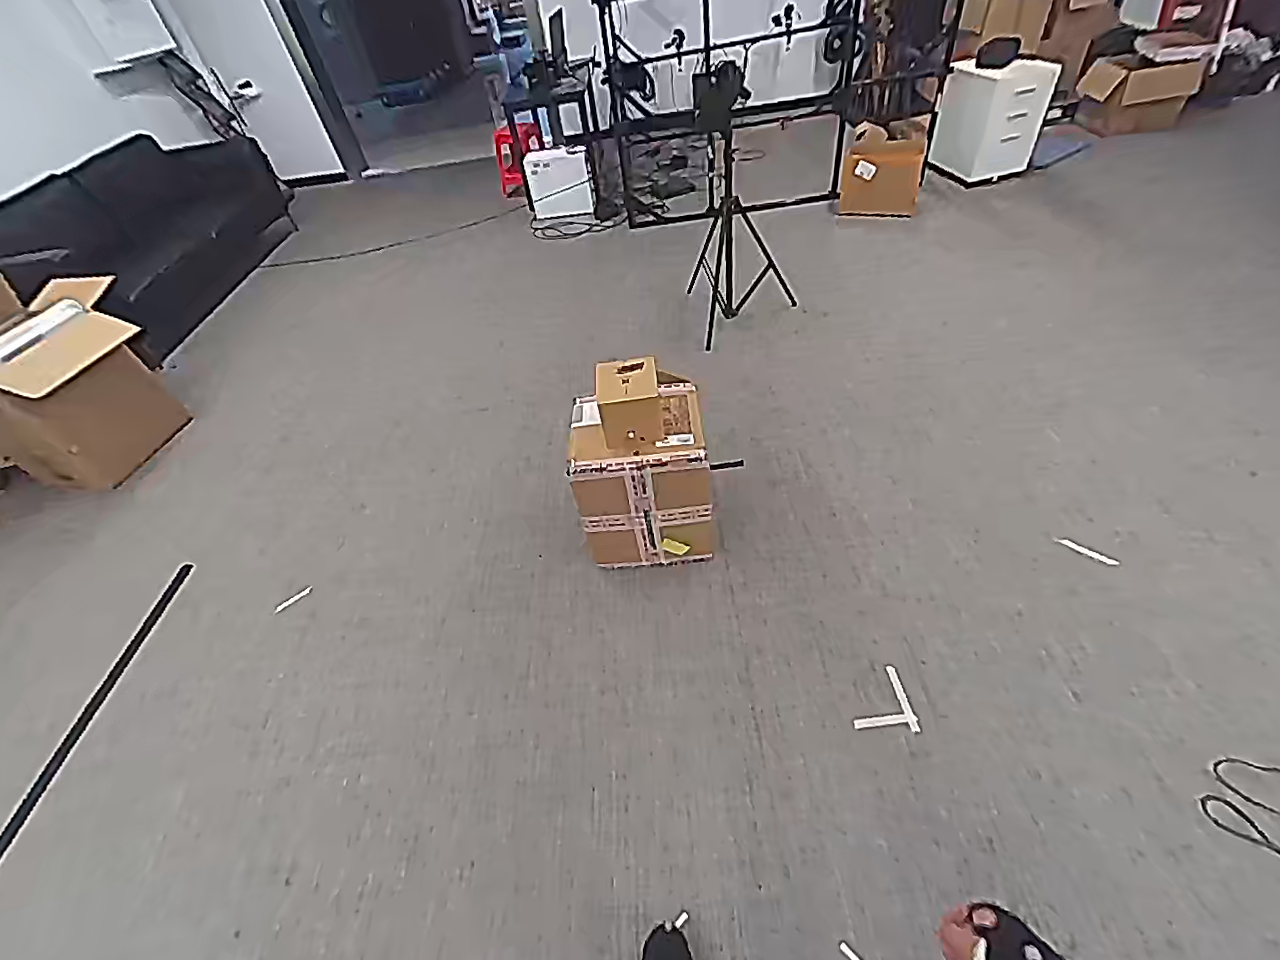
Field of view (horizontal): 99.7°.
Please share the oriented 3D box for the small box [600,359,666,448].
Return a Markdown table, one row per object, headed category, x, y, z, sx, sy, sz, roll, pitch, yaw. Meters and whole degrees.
| category | x | y | z | sx | sy | sz | roll | pitch | yaw |
| --- | --- | --- | --- | --- | --- | --- | --- | --- | --- |
| small box | -0.018 | -0.213 | 1.517 | 0.168 | 0.176 | 0.179 | -7 | 49 | 4 |
